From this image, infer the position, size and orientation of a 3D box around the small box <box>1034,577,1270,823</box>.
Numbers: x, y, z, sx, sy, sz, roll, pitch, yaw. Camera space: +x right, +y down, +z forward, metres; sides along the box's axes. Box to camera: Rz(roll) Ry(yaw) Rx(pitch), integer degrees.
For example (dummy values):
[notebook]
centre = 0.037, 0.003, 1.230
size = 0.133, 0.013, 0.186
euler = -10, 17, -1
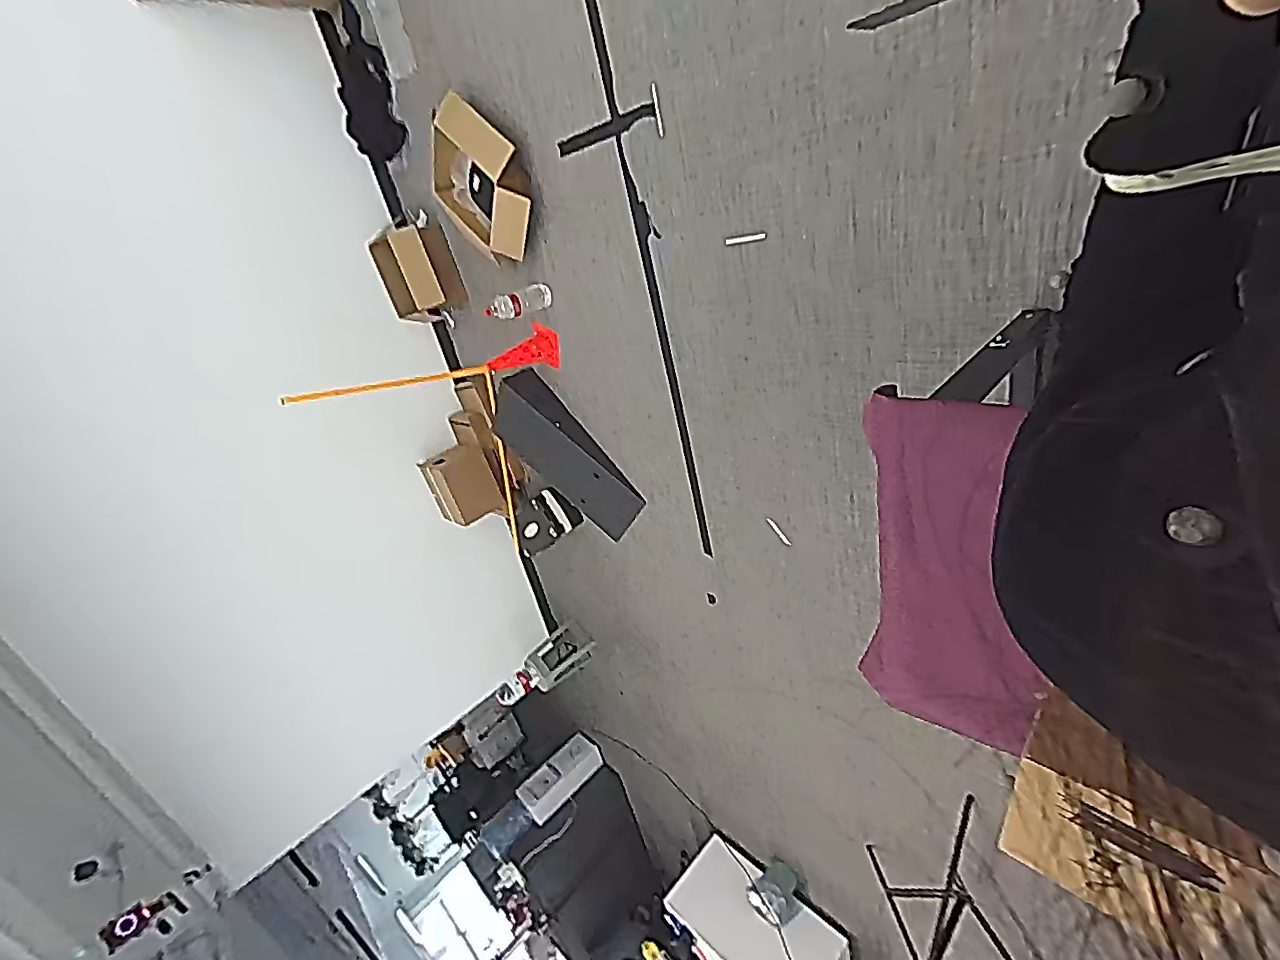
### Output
[small box]
centre = 0.614, 0.252, 0.655
size = 0.168, 0.176, 0.179
euler = 20, 131, 41
